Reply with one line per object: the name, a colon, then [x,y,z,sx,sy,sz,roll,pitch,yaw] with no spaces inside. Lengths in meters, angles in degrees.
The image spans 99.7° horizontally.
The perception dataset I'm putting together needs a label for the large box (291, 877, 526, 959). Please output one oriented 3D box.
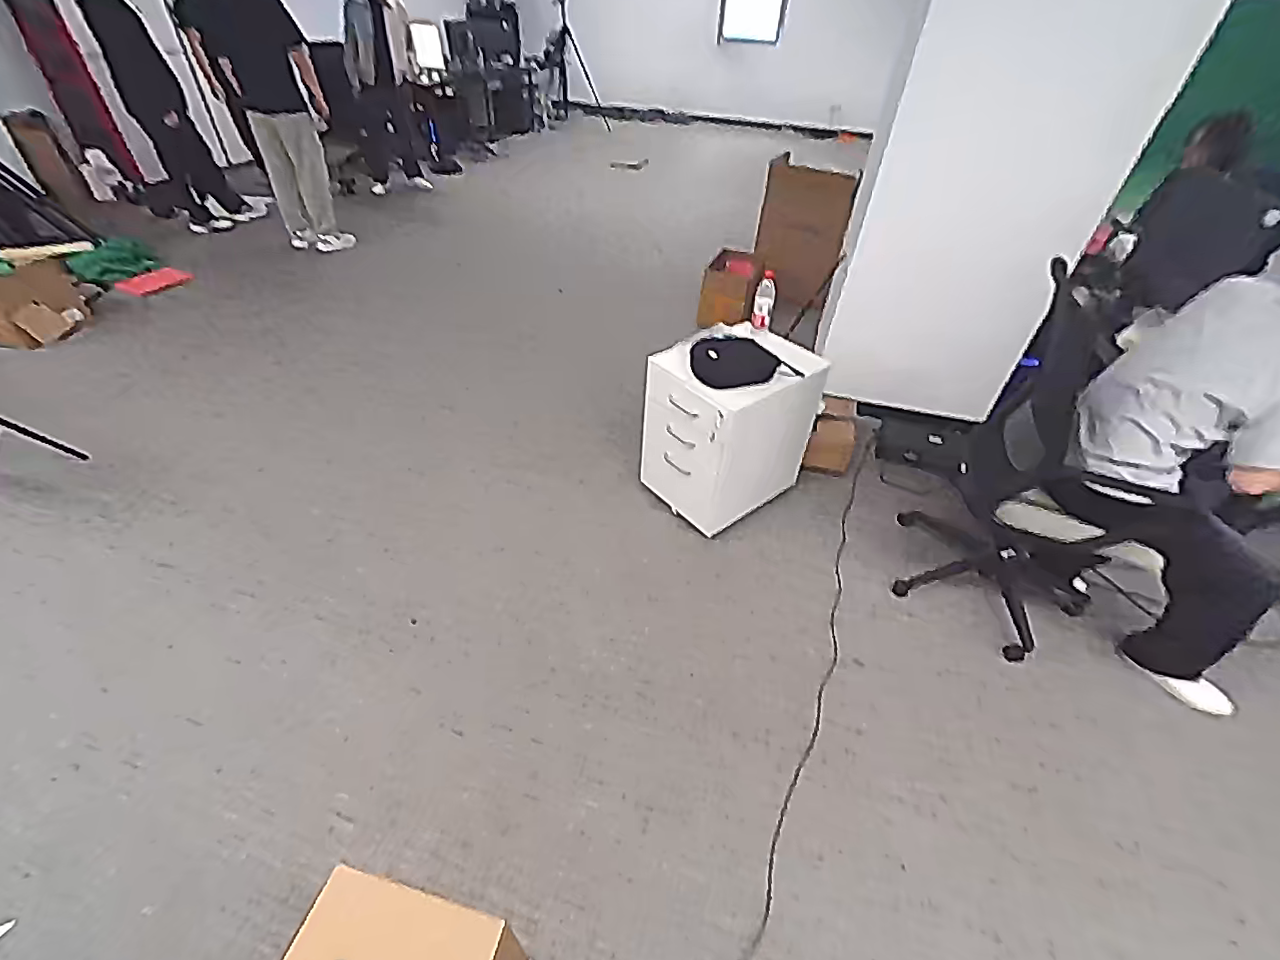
large box: [-0.411,0.931,0.914,0.320,0.408,0.320,13,44,9]
